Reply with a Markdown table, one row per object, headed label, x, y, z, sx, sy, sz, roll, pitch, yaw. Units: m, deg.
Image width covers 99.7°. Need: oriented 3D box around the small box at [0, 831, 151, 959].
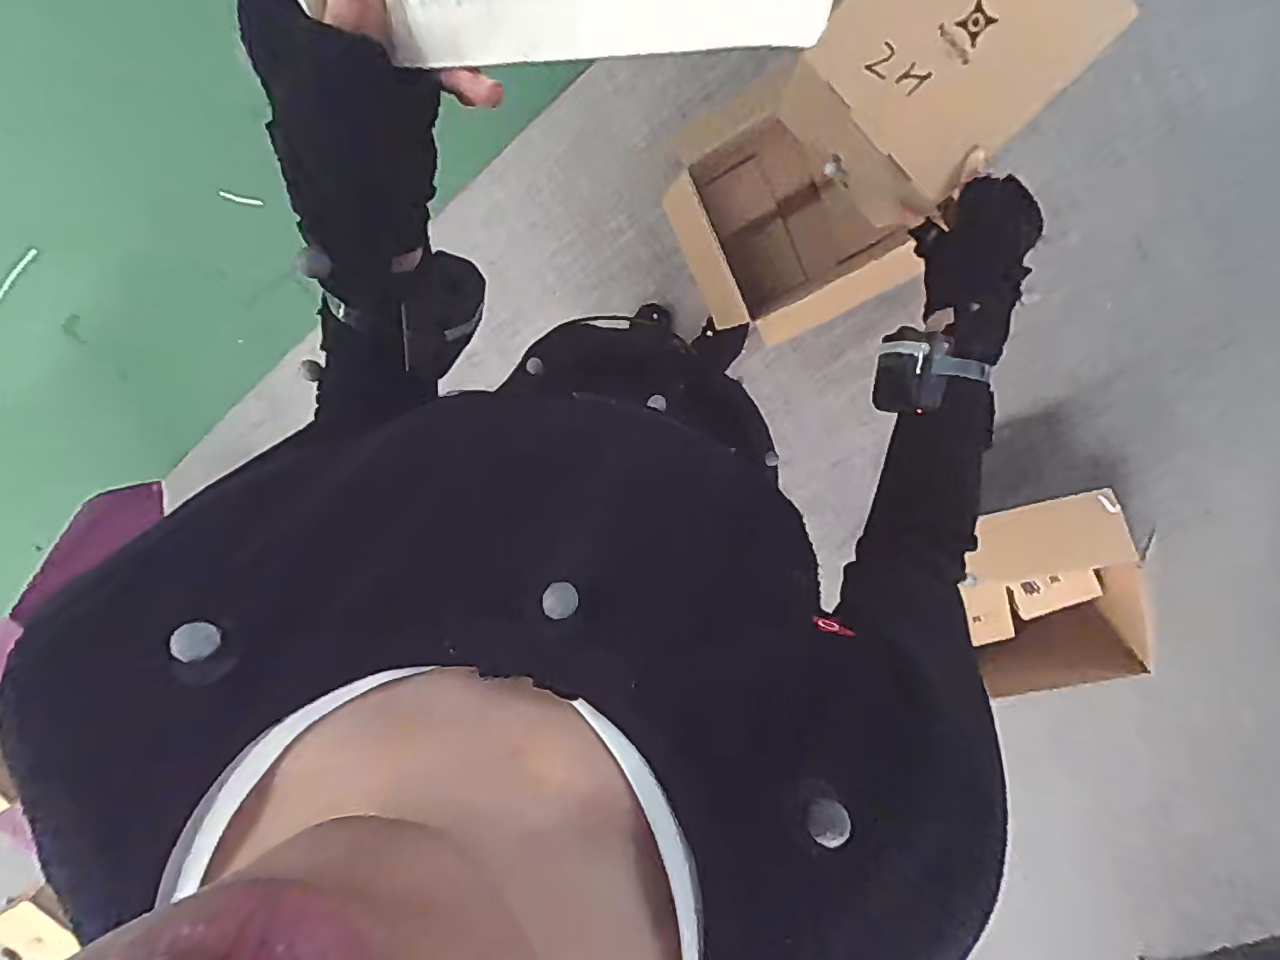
| label | x | y | z | sx | sy | sz | roll | pitch | yaw |
| --- | --- | --- | --- | --- | --- | --- | --- | --- | --- |
| small box | -1.182 | 0.872 | 1.119 | 0.179 | 0.176 | 0.168 | -32 | 103 | 17 |
